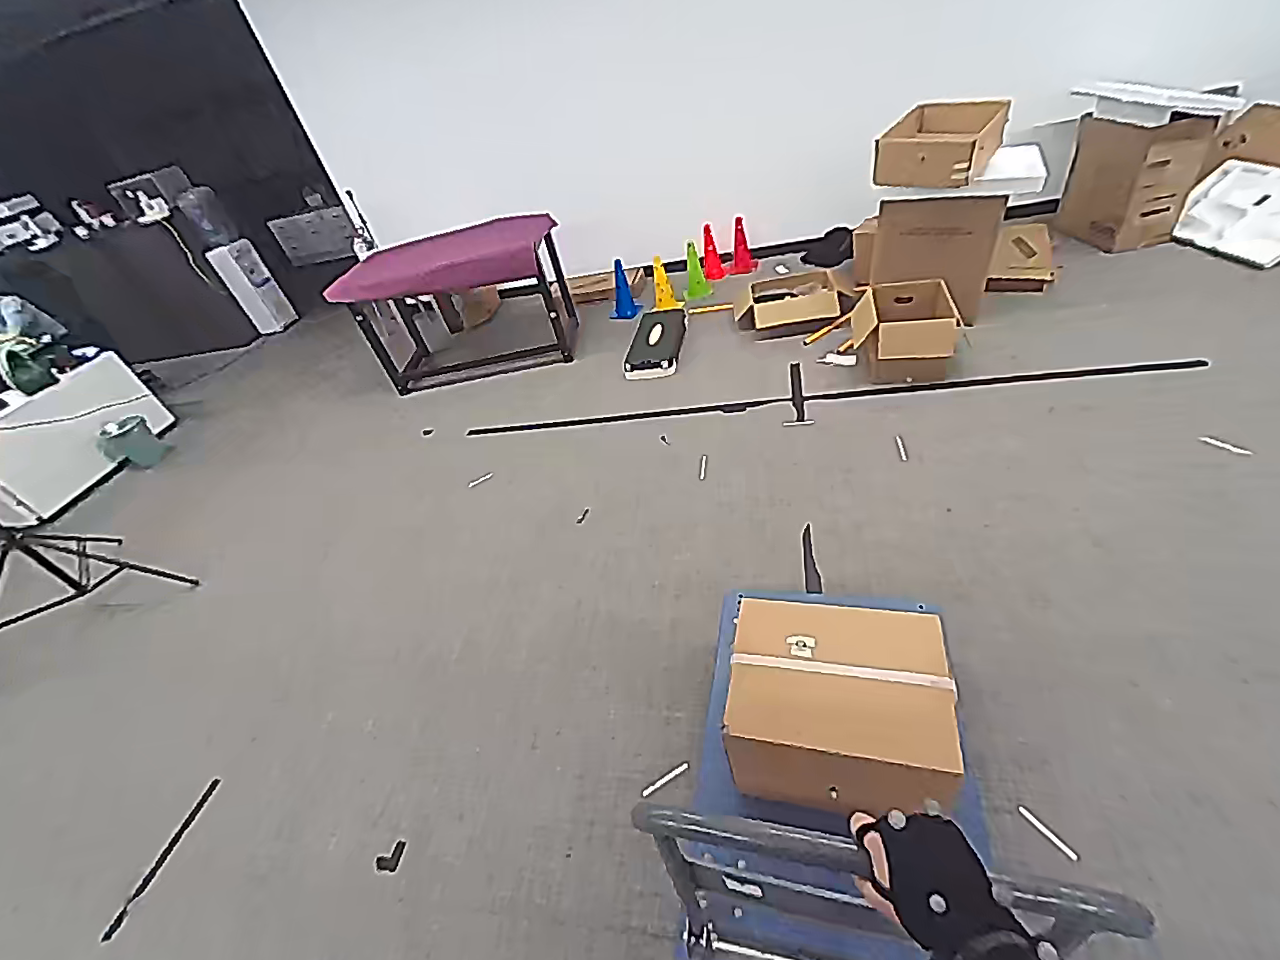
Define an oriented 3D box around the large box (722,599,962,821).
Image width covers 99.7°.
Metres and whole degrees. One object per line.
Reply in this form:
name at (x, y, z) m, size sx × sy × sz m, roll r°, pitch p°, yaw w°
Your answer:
large box at (0.410, 0.477, 1.147) m, size 0.408 × 0.320 × 0.320 m, roll -1°, pitch 41°, yaw 19°
